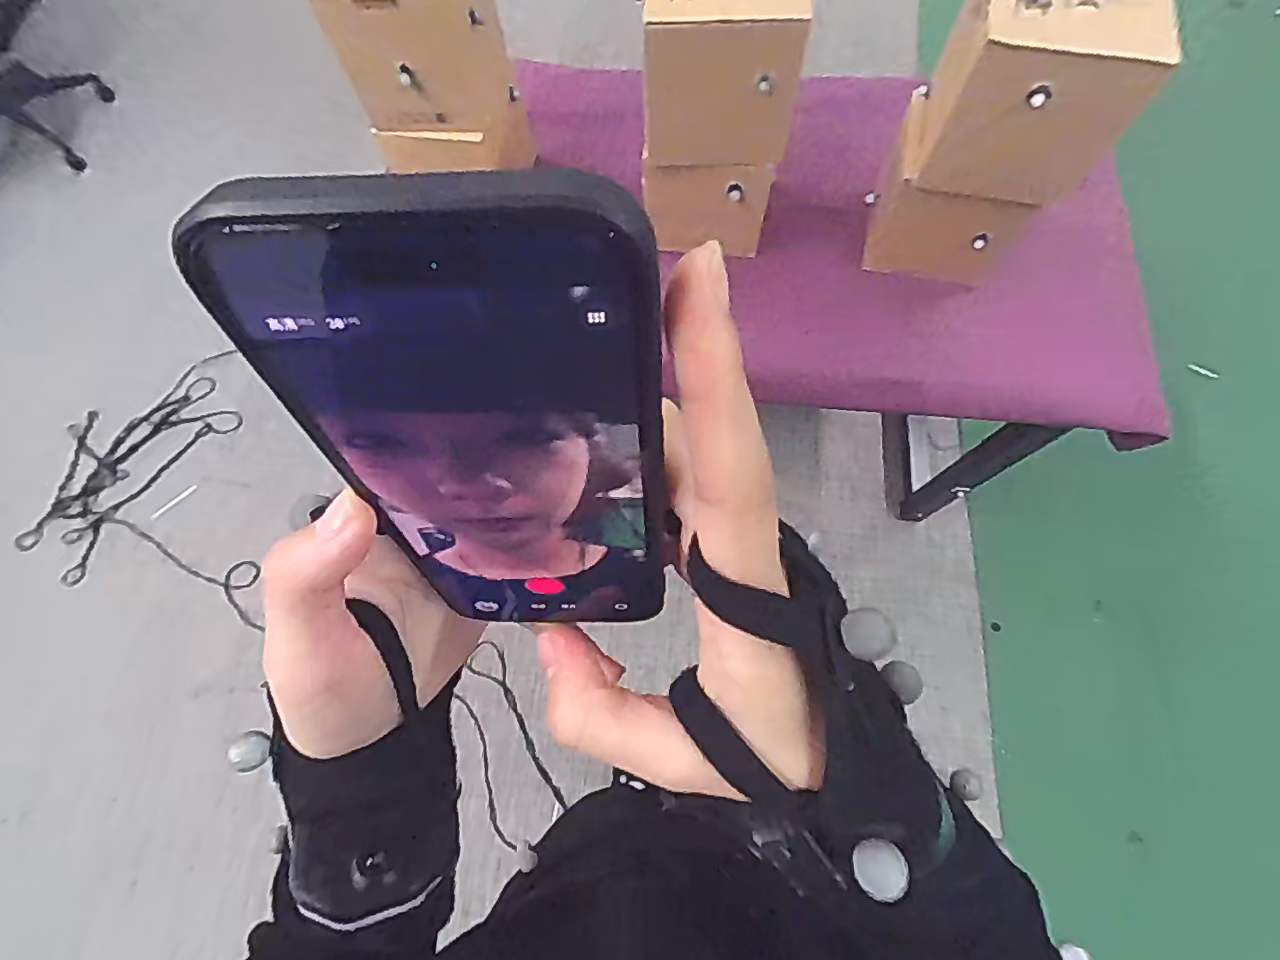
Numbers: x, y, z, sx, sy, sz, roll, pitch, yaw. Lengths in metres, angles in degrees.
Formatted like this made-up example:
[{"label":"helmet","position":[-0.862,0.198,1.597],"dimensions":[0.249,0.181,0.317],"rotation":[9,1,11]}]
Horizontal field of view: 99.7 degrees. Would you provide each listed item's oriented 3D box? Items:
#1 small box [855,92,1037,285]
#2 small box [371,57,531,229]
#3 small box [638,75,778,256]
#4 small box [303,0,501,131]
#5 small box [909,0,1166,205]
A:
[{"label":"small box","position":[0.433,-0.407,0.775],"dimensions":[0.179,0.176,0.168],"rotation":[13,71,8]},{"label":"small box","position":[-0.284,-0.528,0.857],"dimensions":[0.168,0.176,0.179],"rotation":[8,71,6]},{"label":"small box","position":[0.099,-0.462,0.811],"dimensions":[0.179,0.176,0.168],"rotation":[7,71,6]},{"label":"small box","position":[-0.291,-0.591,0.705],"dimensions":[0.168,0.176,0.179],"rotation":[3,72,3]},{"label":"small box","position":[0.431,-0.446,0.615],"dimensions":[0.179,0.176,0.168],"rotation":[13,71,7]}]
